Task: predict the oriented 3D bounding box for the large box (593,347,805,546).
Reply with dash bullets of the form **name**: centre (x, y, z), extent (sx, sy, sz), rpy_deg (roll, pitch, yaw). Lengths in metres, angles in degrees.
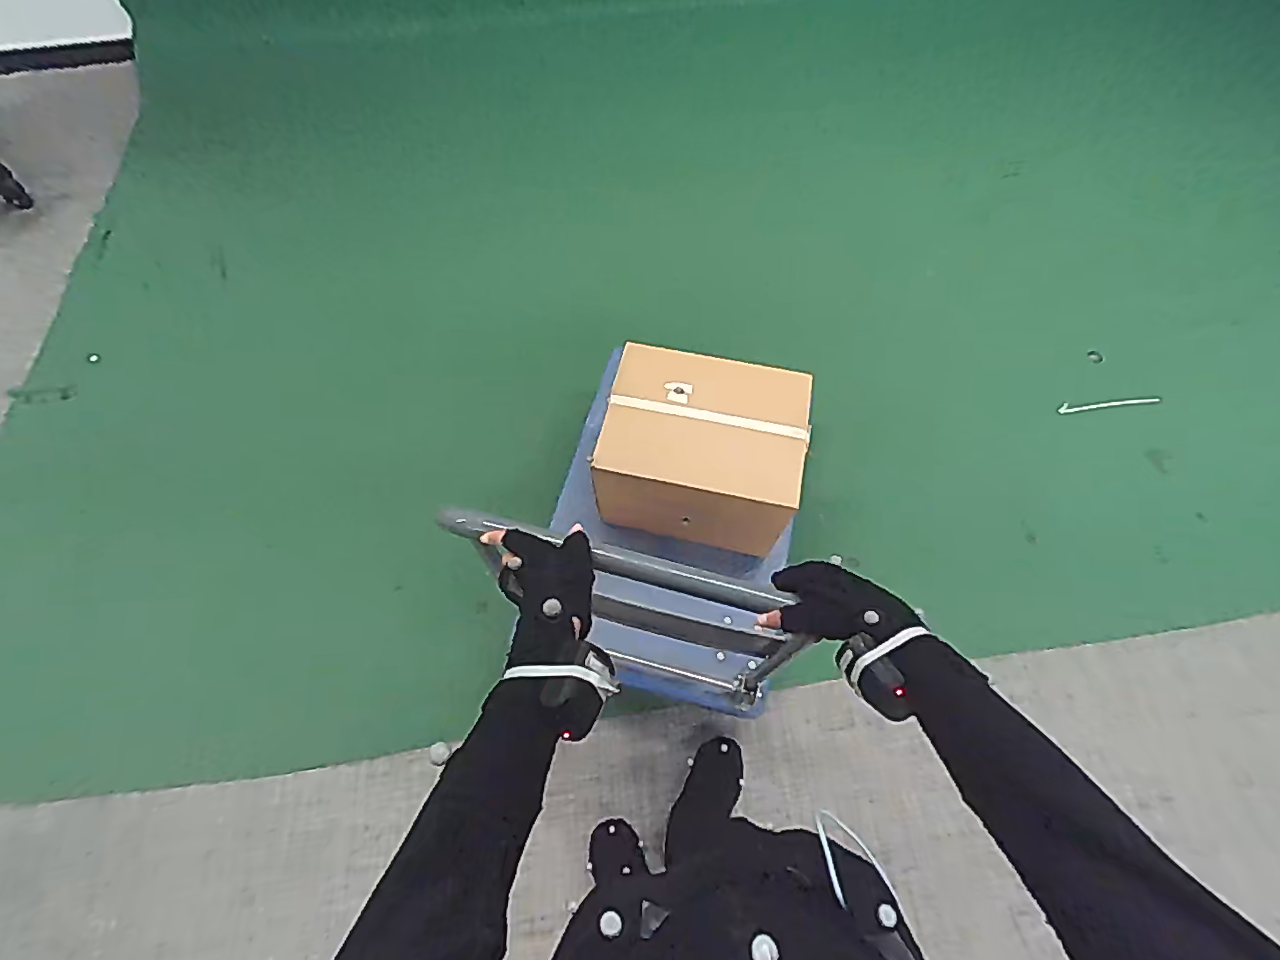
- **large box**: centre (0.134, -0.064, 1.240), extent (0.408, 0.320, 0.320), rpy_deg (10, 65, 6)
